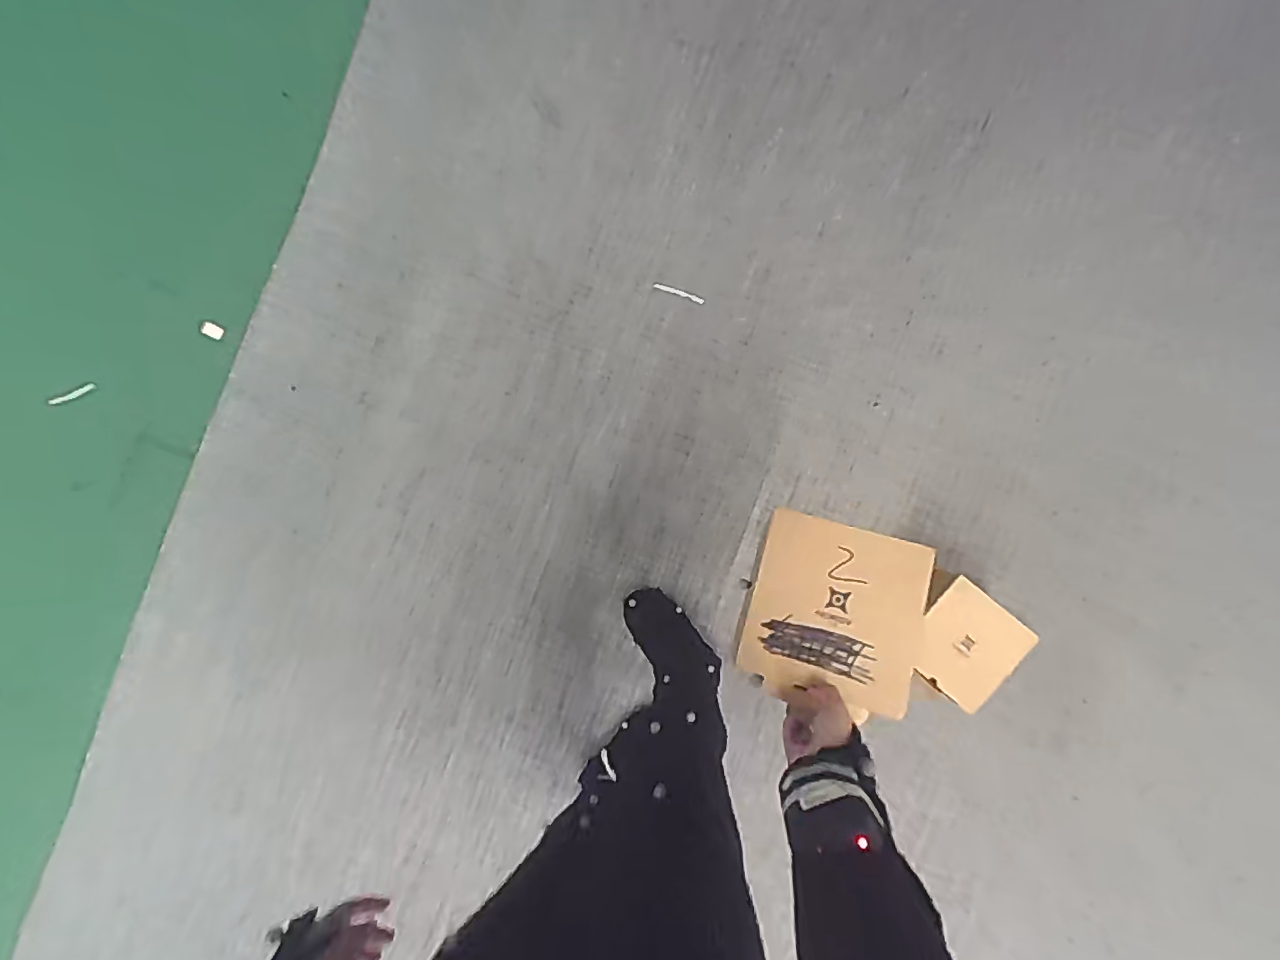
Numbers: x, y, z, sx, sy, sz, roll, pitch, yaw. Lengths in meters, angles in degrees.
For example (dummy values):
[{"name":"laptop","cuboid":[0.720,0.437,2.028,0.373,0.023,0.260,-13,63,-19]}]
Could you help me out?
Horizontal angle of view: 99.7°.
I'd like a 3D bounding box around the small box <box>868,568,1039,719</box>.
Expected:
[{"name":"small box","cuboid":[0.545,0.278,0.970,0.168,0.176,0.179,40,92,4]}]
